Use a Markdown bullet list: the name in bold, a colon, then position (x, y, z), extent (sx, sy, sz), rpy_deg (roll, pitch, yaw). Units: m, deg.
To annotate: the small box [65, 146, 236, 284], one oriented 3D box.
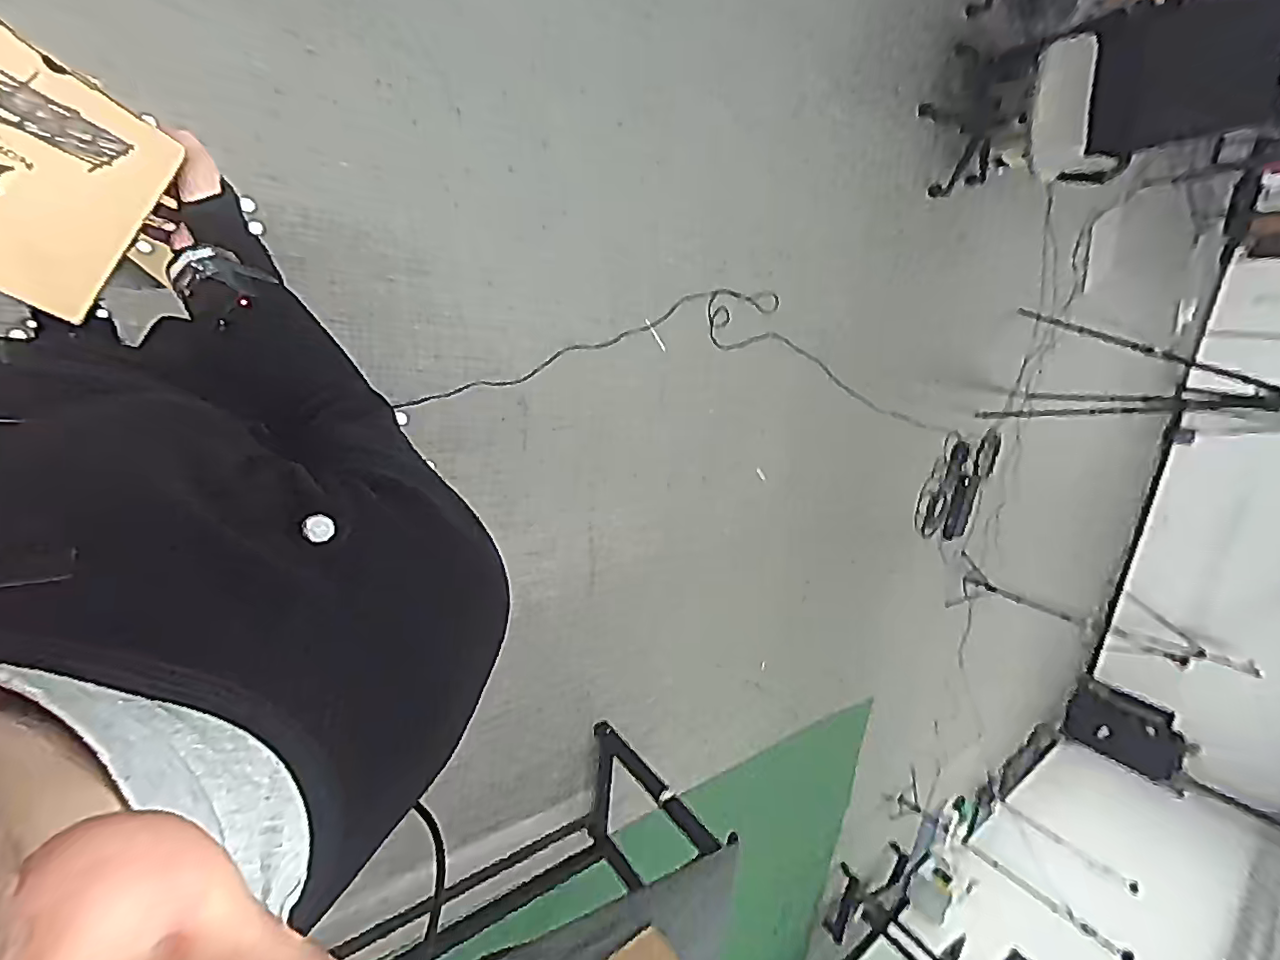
- **small box**: position (-0.926, -0.497, 1.041), extent (0.168, 0.176, 0.179), rpy_deg (-50, 130, -12)
